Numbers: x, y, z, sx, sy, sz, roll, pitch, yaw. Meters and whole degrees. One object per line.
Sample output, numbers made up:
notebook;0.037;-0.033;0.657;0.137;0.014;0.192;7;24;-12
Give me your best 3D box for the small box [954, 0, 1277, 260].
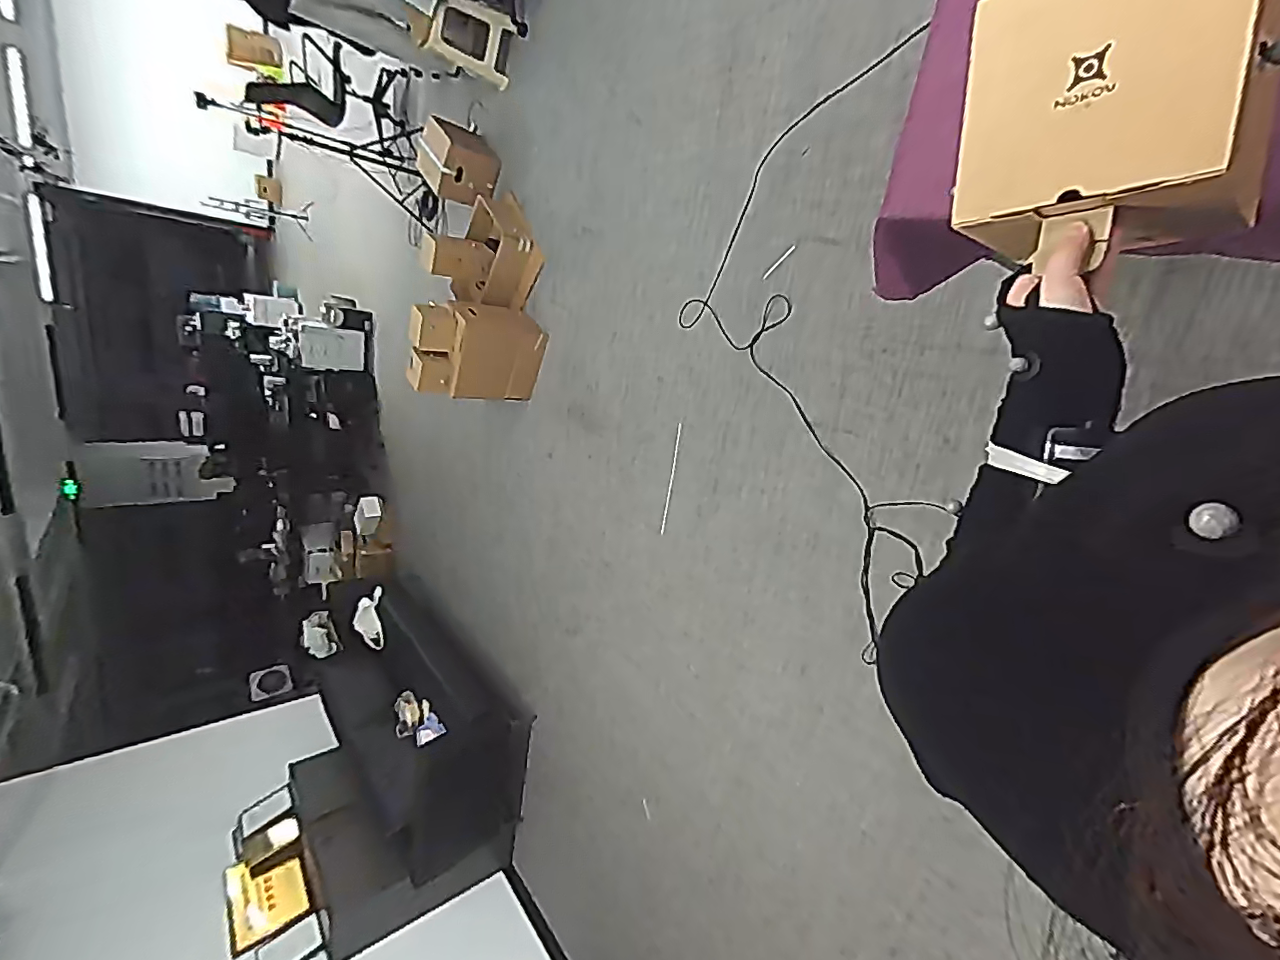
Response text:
small box;0.396;-0.302;0.456;0.168;0.176;0.179;13;104;50
